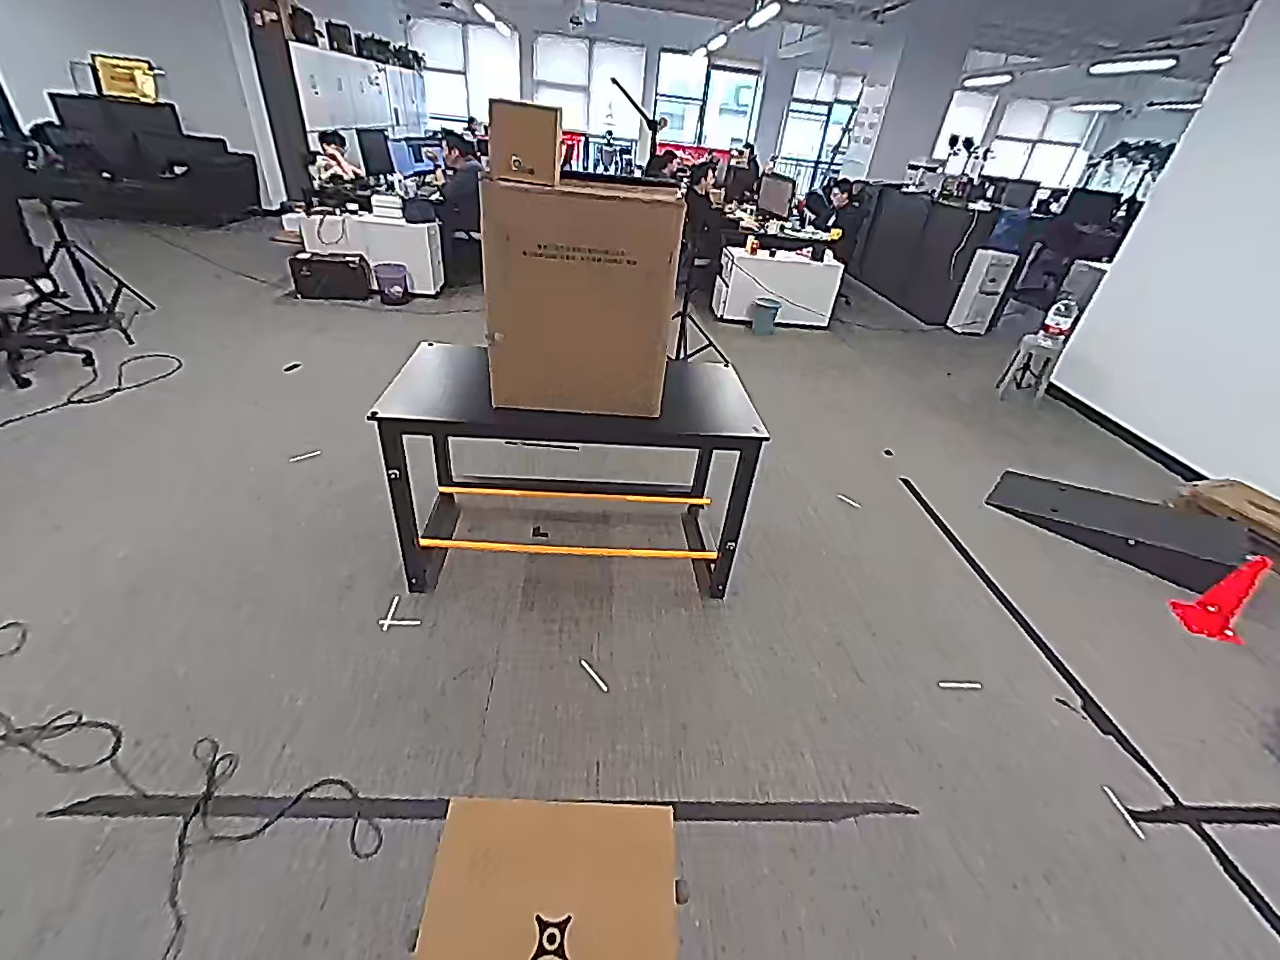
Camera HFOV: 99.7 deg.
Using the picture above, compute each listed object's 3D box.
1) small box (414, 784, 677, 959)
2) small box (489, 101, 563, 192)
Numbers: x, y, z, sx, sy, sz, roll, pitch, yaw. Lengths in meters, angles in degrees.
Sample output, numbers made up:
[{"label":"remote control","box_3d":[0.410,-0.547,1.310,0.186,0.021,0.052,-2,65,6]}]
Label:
[{"label":"small box","box_3d":[-0.066,0.351,0.397,0.168,0.176,0.179,4,43,-3]},{"label":"small box","box_3d":[-0.287,-0.850,1.377,0.168,0.176,0.179,4,35,-7]}]
